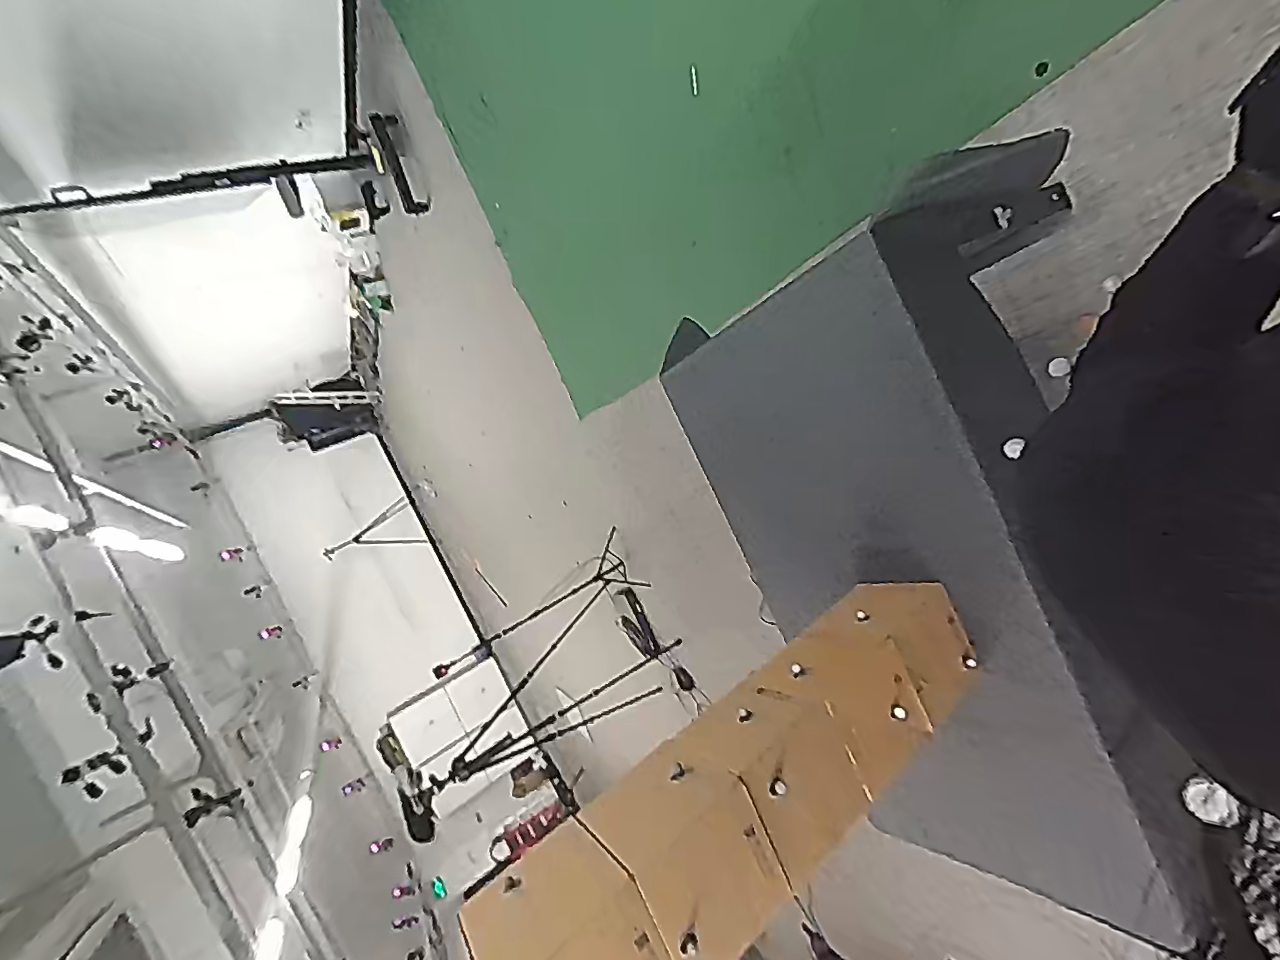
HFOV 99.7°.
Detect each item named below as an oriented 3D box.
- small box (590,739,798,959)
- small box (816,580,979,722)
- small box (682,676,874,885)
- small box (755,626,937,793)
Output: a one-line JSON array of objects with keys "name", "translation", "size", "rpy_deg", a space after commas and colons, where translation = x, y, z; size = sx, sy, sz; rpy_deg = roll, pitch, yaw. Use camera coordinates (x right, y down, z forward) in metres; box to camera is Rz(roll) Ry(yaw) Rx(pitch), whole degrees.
[{"name": "small box", "translation": [0.066, 0.468, 0.696], "size": [0.179, 0.176, 0.168], "rpy_deg": [-17, 98, 61]}, {"name": "small box", "translation": [0.451, 0.284, 0.939], "size": [0.168, 0.176, 0.179], "rpy_deg": [64, 152, -1]}, {"name": "small box", "translation": [0.196, 0.409, 0.776], "size": [0.168, 0.176, 0.179], "rpy_deg": [-20, 96, 61]}, {"name": "small box", "translation": [0.324, 0.347, 0.859], "size": [0.179, 0.176, 0.168], "rpy_deg": [-23, 93, 60]}]
